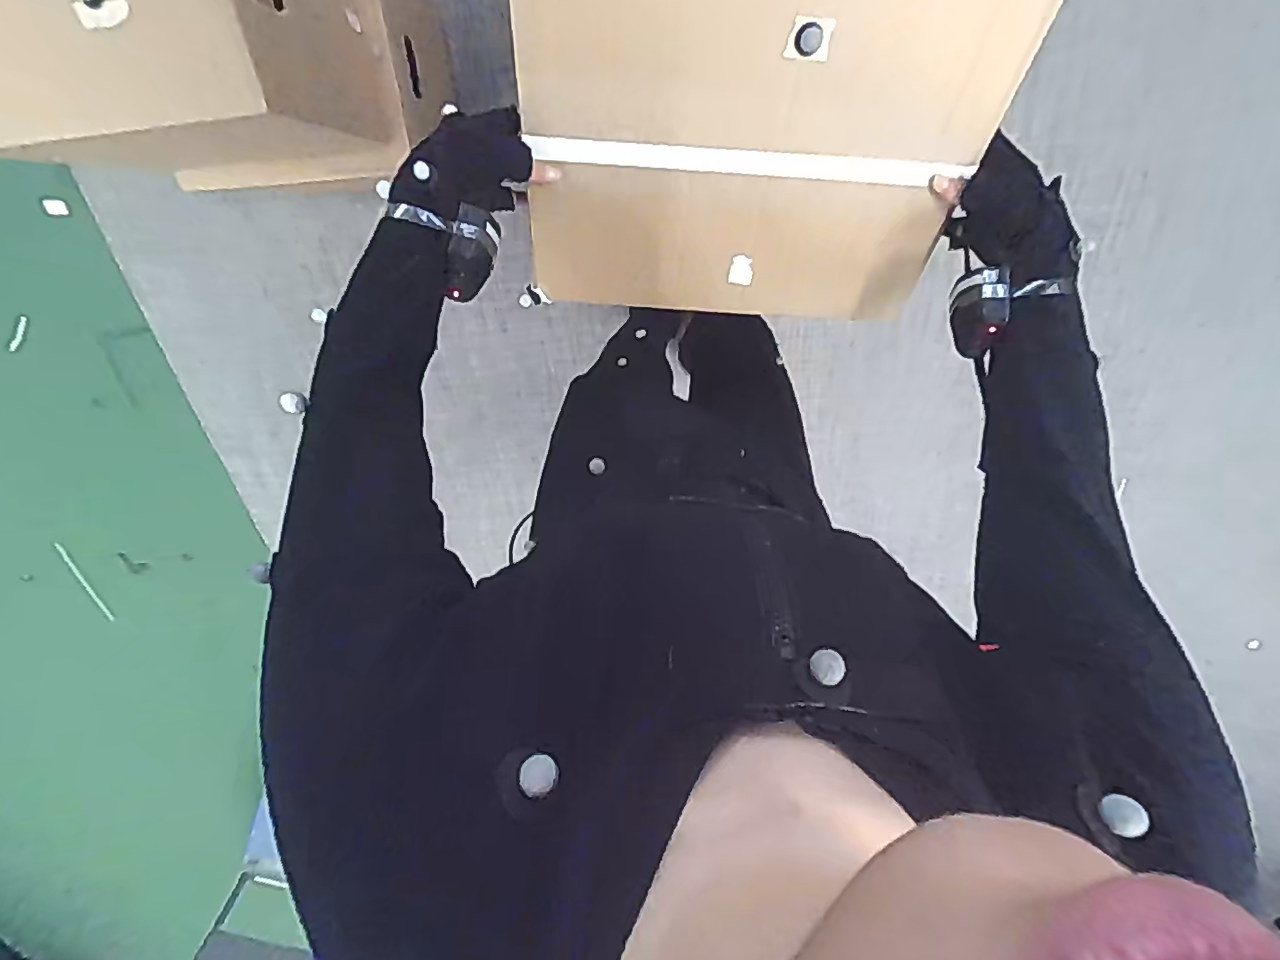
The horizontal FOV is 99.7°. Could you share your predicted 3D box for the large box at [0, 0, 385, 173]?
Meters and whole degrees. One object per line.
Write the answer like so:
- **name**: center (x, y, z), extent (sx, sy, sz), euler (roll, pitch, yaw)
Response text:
- **large box**: center (-0.617, -0.597, 0.681), extent (0.408, 0.320, 0.320), euler (-5, 116, 2)
